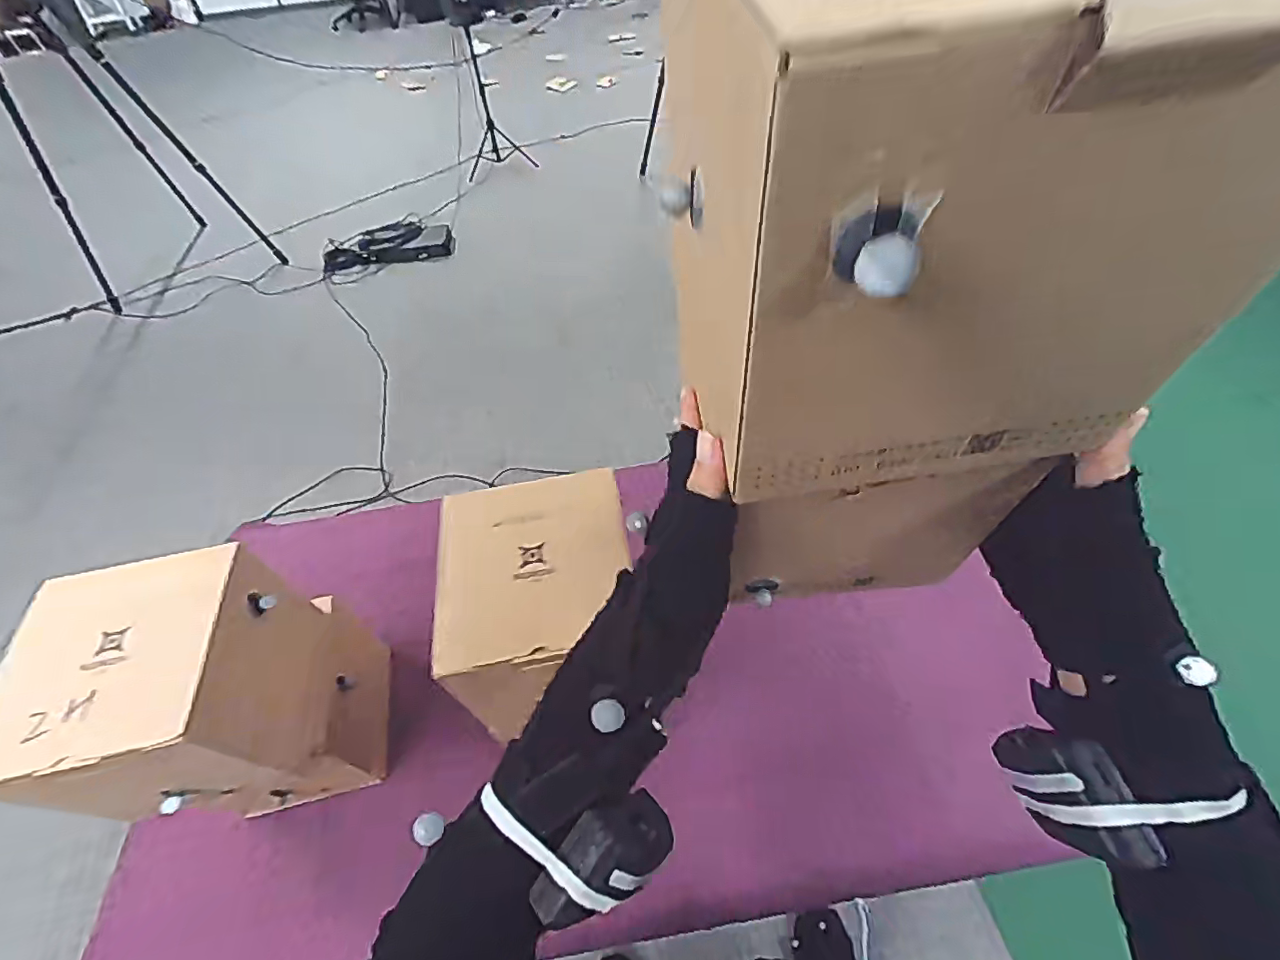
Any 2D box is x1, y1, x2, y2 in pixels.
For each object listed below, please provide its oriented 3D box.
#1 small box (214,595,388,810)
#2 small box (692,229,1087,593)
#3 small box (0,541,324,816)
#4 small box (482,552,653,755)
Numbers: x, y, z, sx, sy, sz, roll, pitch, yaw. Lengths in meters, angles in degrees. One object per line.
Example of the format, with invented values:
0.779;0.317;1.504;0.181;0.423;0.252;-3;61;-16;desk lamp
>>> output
-0.416;0.266;0.642;0.168;0.176;0.179;-13;54;-6;small box
0.129;-0.035;0.365;0.168;0.176;0.179;-7;54;1;small box
-0.422;0.185;0.498;0.168;0.176;0.179;-12;54;-5;small box
-0.083;0.218;0.658;0.168;0.176;0.179;-13;52;-4;small box
